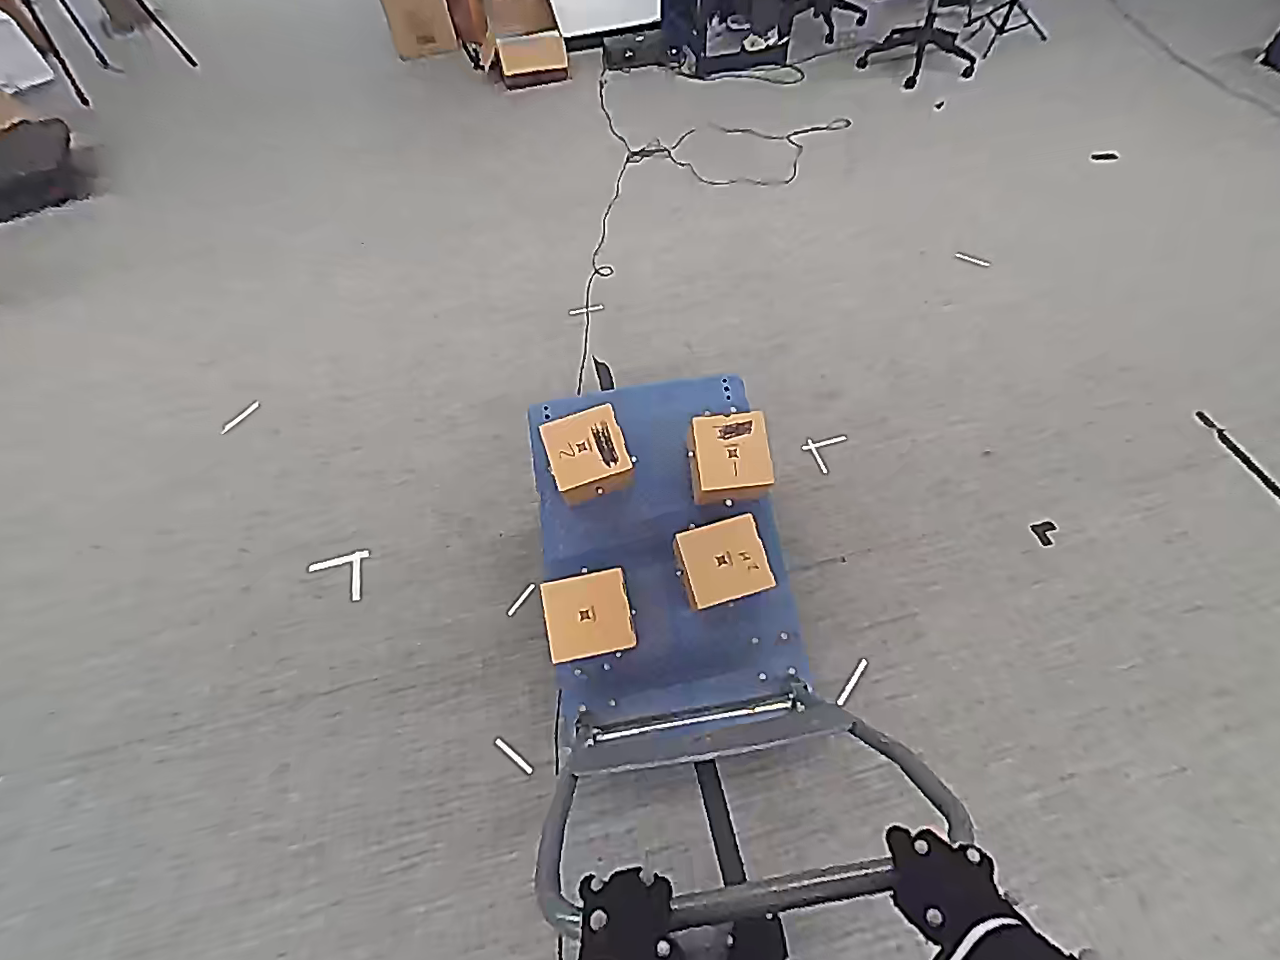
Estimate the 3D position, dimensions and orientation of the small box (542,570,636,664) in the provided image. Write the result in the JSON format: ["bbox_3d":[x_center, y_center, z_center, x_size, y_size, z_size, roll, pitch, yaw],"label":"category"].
[{"bbox_3d":[-0.108,0.306,1.202,0.179,0.176,0.168,-11,75,-4],"label":"small box"}]

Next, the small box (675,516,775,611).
[{"bbox_3d":[0.184,0.195,1.225,0.179,0.176,0.168,-16,76,-3],"label":"small box"}]

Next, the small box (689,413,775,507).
[{"bbox_3d":[0.210,-0.042,1.289,0.168,0.176,0.179,-6,76,0],"label":"small box"}]
